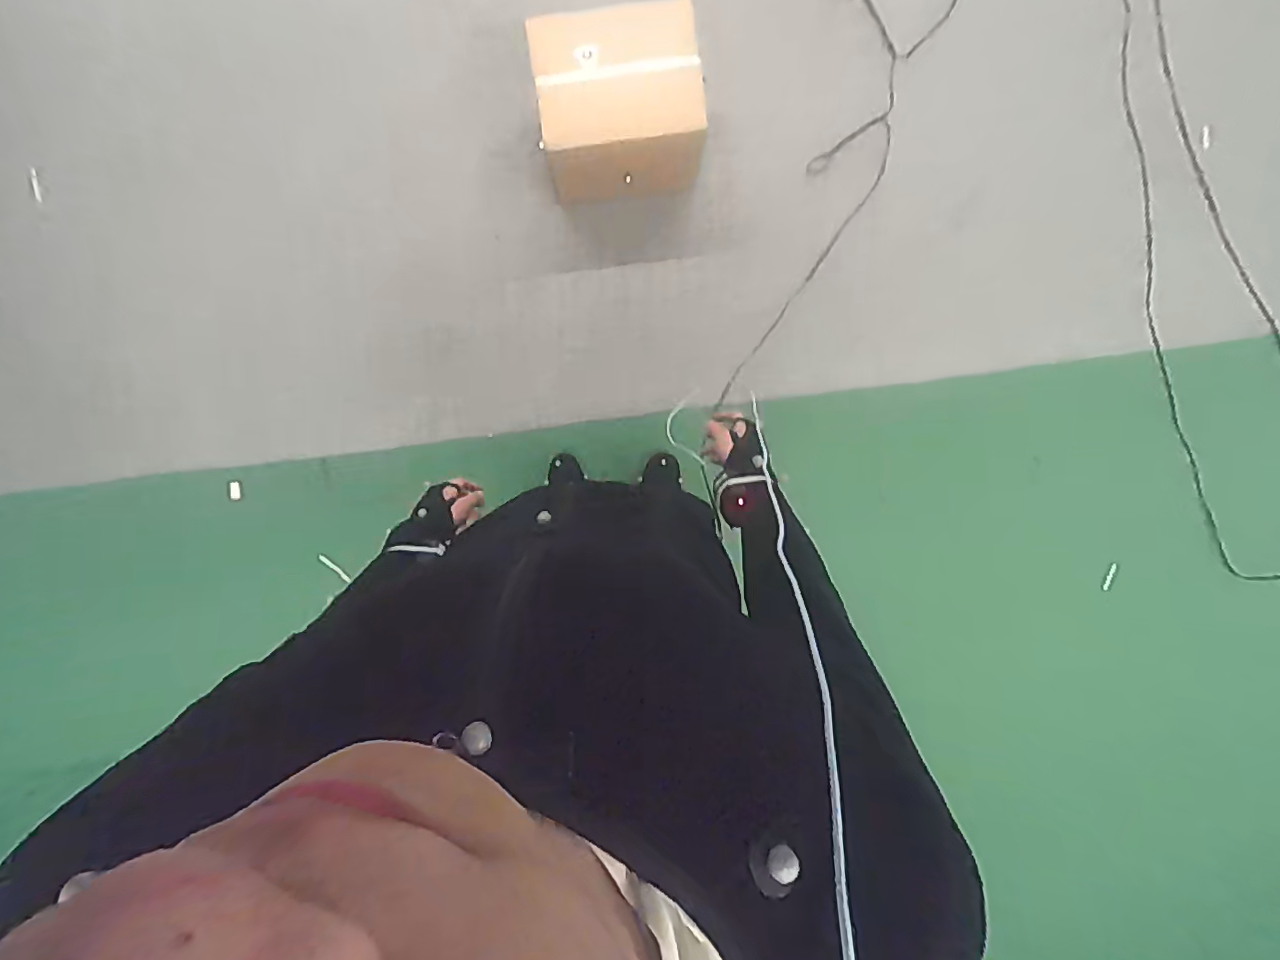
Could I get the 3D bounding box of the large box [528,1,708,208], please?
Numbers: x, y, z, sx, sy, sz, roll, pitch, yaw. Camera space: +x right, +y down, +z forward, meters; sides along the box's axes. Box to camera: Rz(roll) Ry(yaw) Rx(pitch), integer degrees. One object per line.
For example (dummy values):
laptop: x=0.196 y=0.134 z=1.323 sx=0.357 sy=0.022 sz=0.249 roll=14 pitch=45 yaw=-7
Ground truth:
large box: x=-0.052 y=-0.982 z=1.460 sx=0.408 sy=0.320 sz=0.320 roll=-9 pitch=92 yaw=1
